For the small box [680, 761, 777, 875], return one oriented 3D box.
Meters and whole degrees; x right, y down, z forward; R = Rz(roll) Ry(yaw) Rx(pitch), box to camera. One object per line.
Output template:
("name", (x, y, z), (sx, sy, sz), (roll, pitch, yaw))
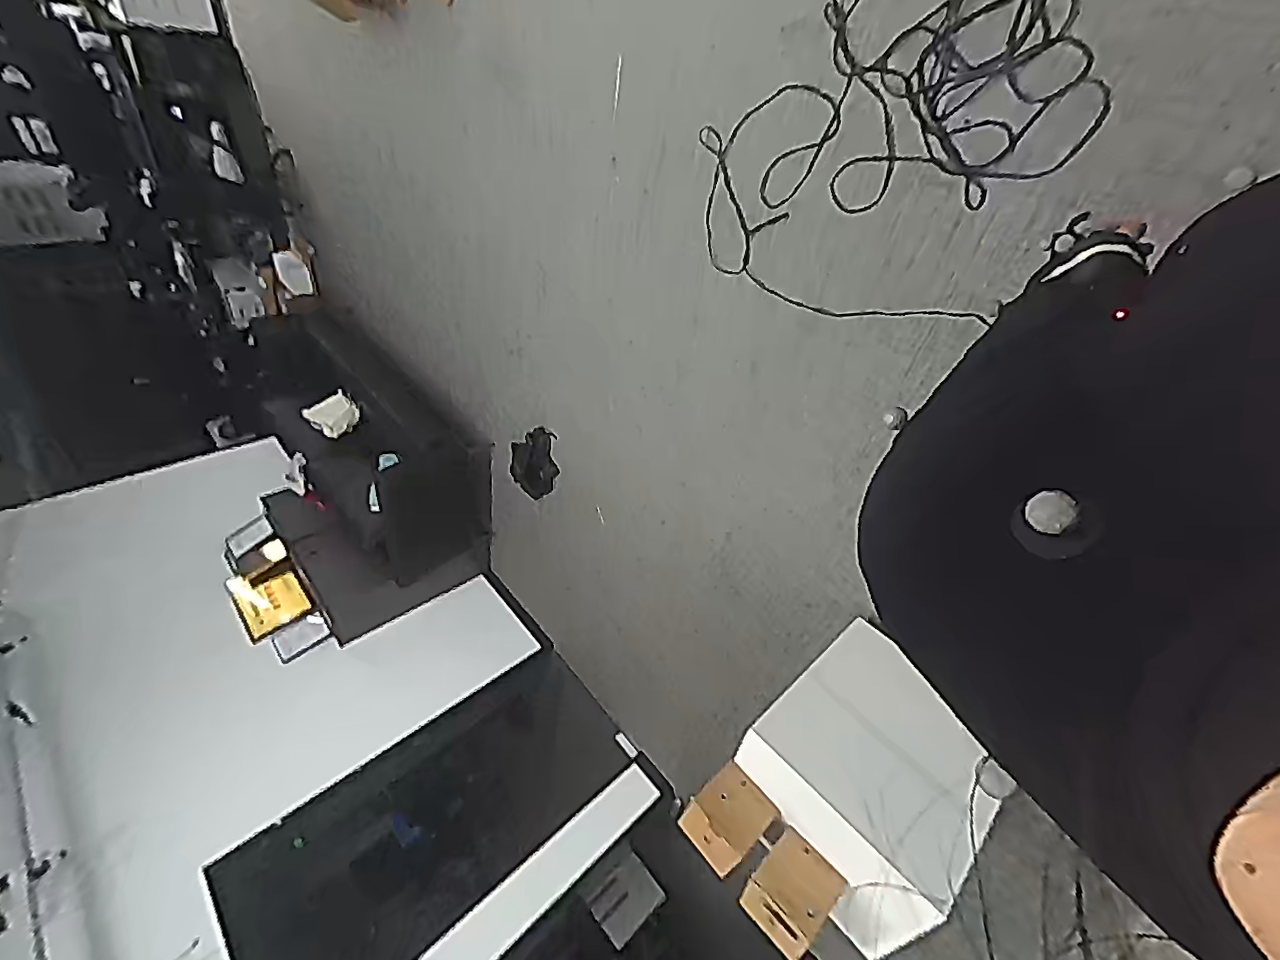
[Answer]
("small box", (0.235, 0.882, 1.423), (0.168, 0.176, 0.179), (41, 139, 29))
